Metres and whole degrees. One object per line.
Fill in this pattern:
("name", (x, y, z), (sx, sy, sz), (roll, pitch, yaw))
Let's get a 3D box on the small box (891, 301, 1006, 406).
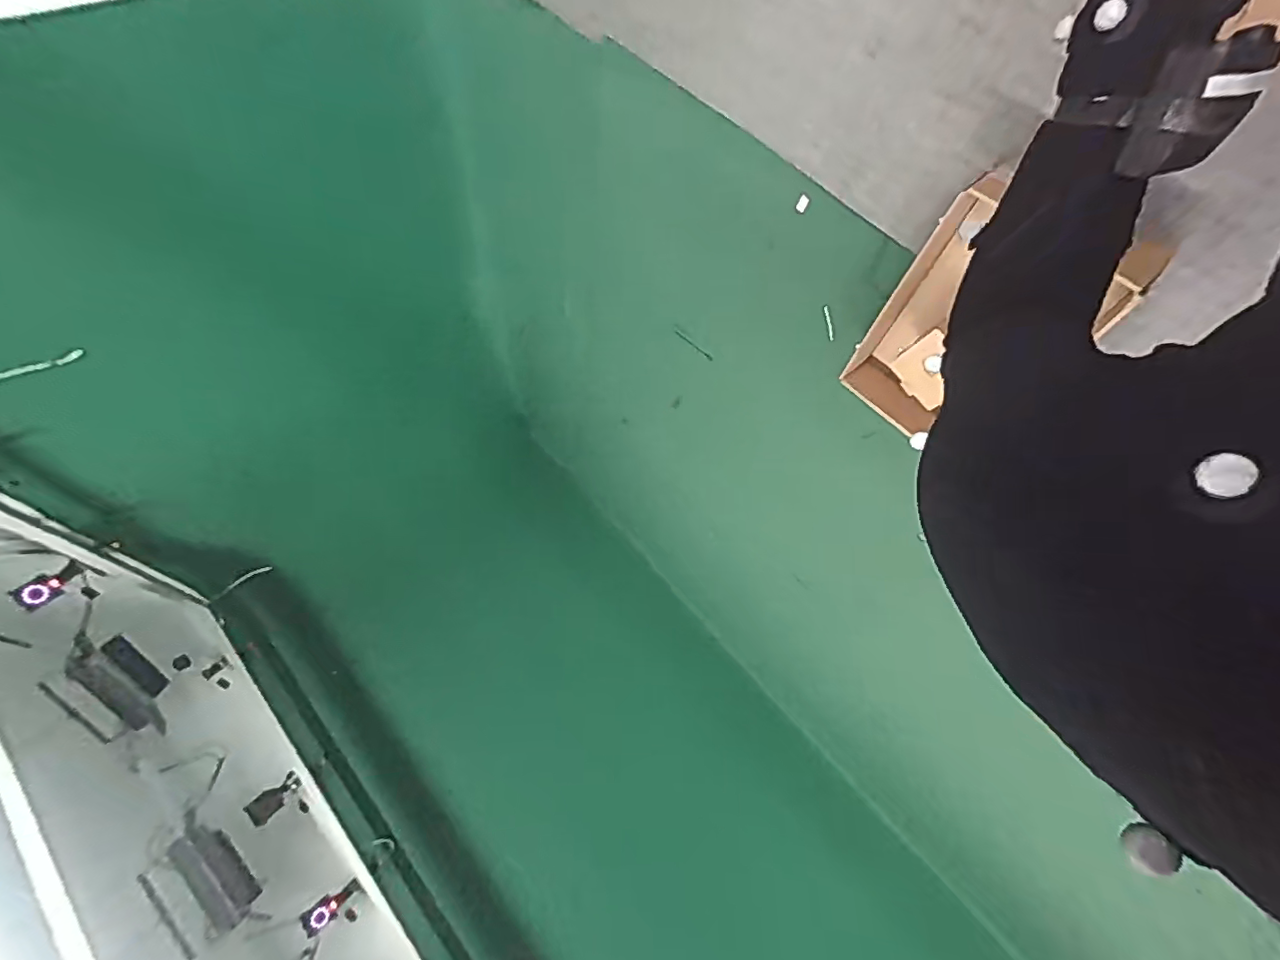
("small box", (0.802, -0.328, 1.396), (0.168, 0.176, 0.179), (51, 155, 6))
